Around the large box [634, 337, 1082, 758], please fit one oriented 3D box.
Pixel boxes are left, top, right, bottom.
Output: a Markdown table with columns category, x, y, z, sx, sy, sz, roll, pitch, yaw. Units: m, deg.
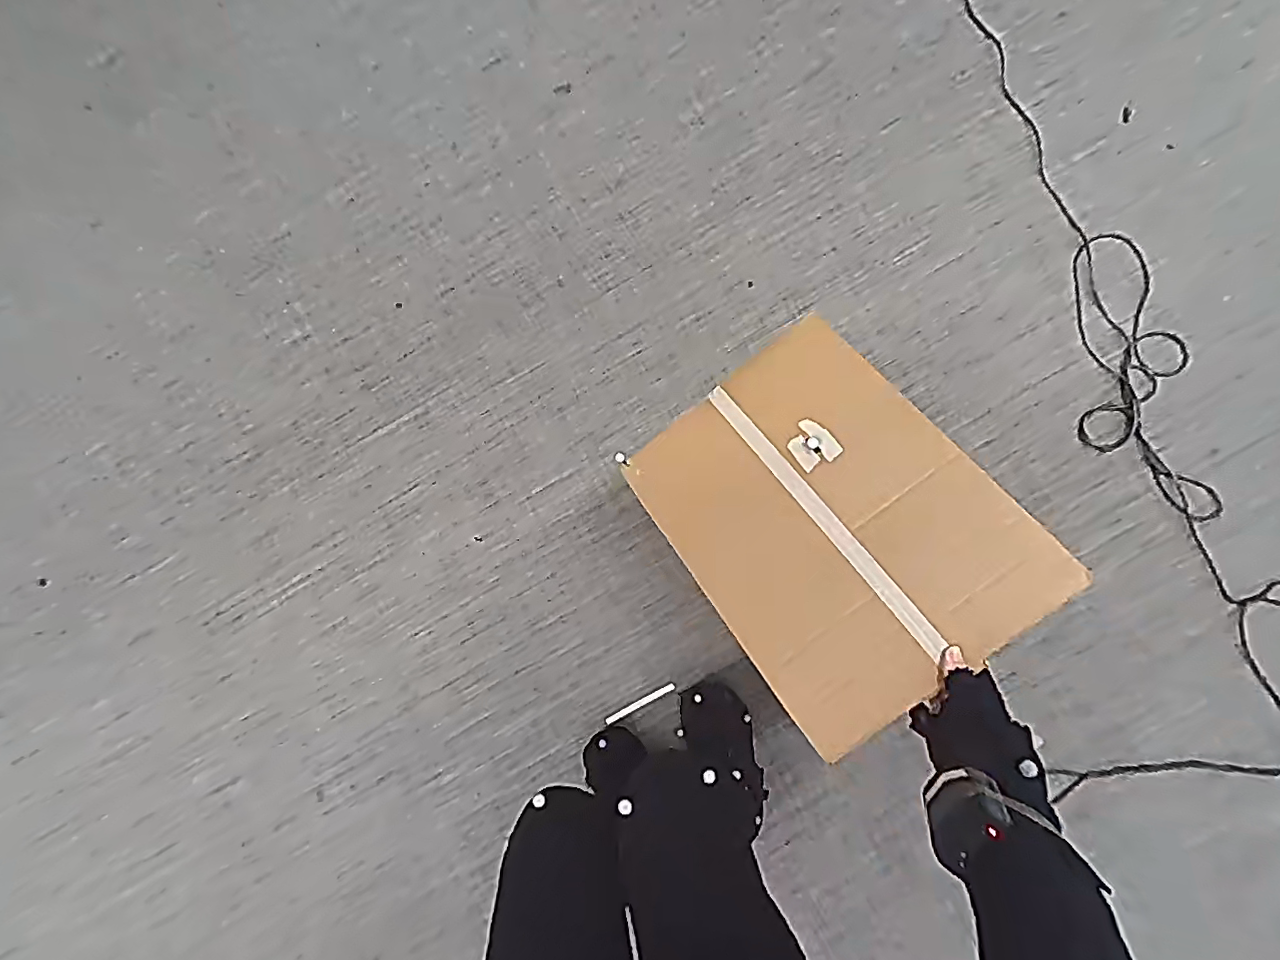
| category | x | y | z | sx | sy | sz | roll | pitch | yaw |
| --- | --- | --- | --- | --- | --- | --- | --- | --- | --- |
| large box | 0.263 | 0.093 | 0.758 | 0.320 | 0.320 | 0.408 | -37 | 66 | 5 |
